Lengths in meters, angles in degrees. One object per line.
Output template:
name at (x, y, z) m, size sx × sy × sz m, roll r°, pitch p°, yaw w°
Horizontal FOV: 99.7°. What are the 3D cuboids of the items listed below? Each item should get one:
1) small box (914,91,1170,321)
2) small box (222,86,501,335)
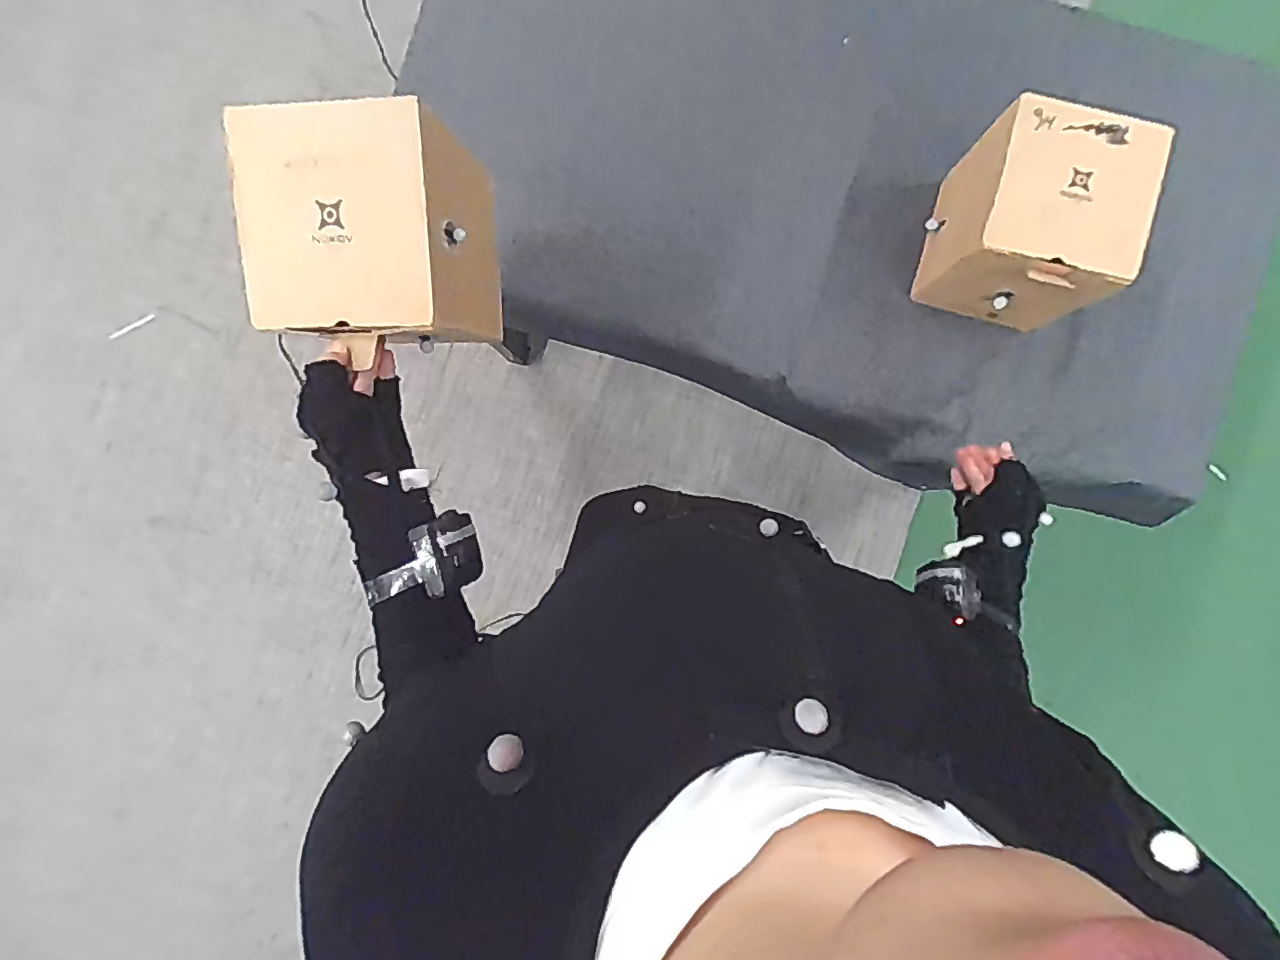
small box at (0.463, -0.312, 0.656) m, size 0.168 × 0.176 × 0.179 m, roll 16°, pitch 90°, yaw 1°
small box at (-0.239, -0.230, 0.511) m, size 0.168 × 0.176 × 0.179 m, roll 0°, pitch 101°, yaw 5°
